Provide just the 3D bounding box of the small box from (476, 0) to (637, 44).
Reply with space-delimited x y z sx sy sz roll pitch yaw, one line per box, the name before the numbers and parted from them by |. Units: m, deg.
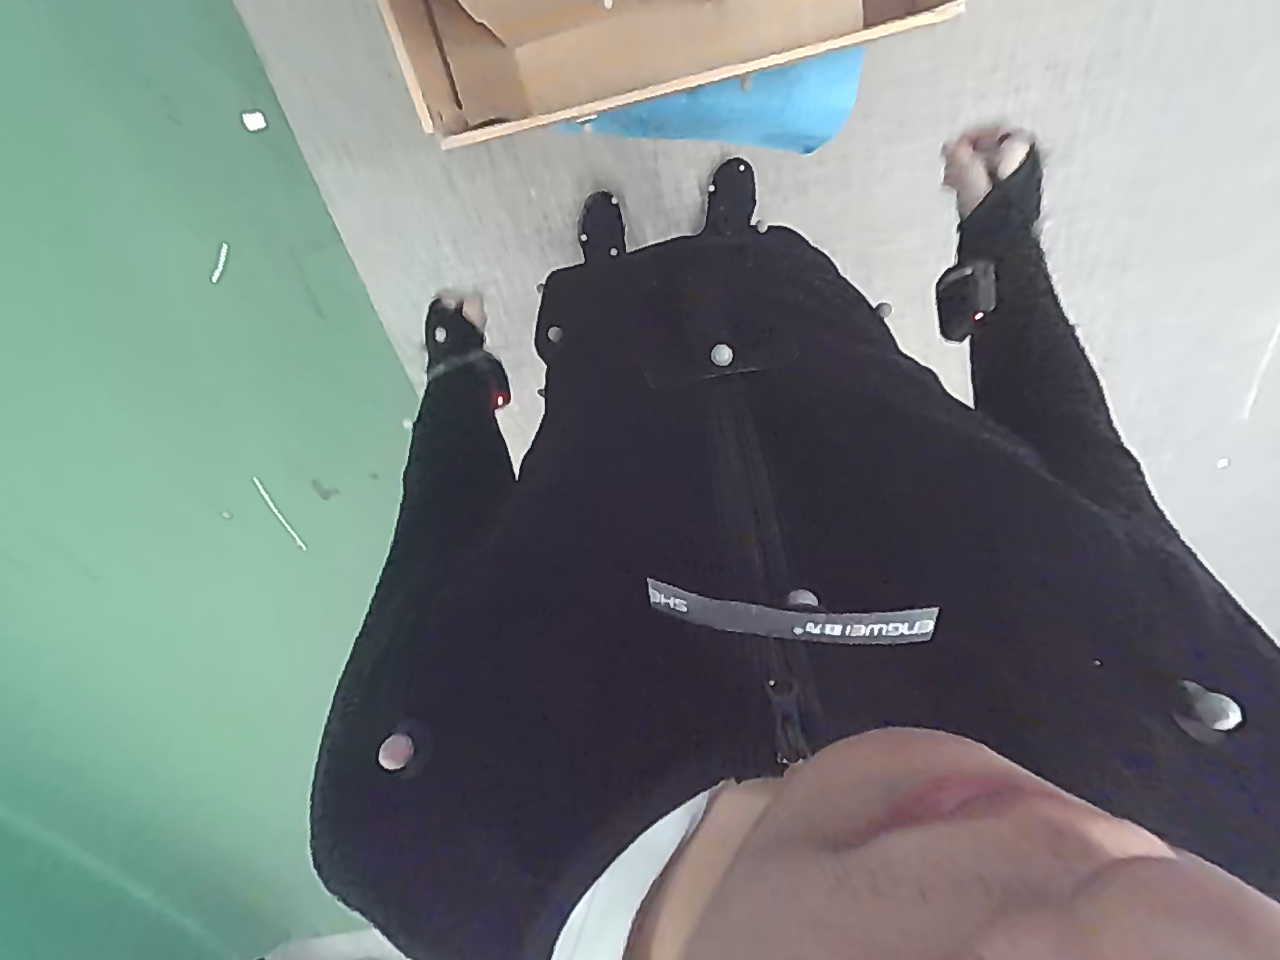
small box | -0.097 -0.597 0.573 0.179 0.176 0.168 -12 120 5
